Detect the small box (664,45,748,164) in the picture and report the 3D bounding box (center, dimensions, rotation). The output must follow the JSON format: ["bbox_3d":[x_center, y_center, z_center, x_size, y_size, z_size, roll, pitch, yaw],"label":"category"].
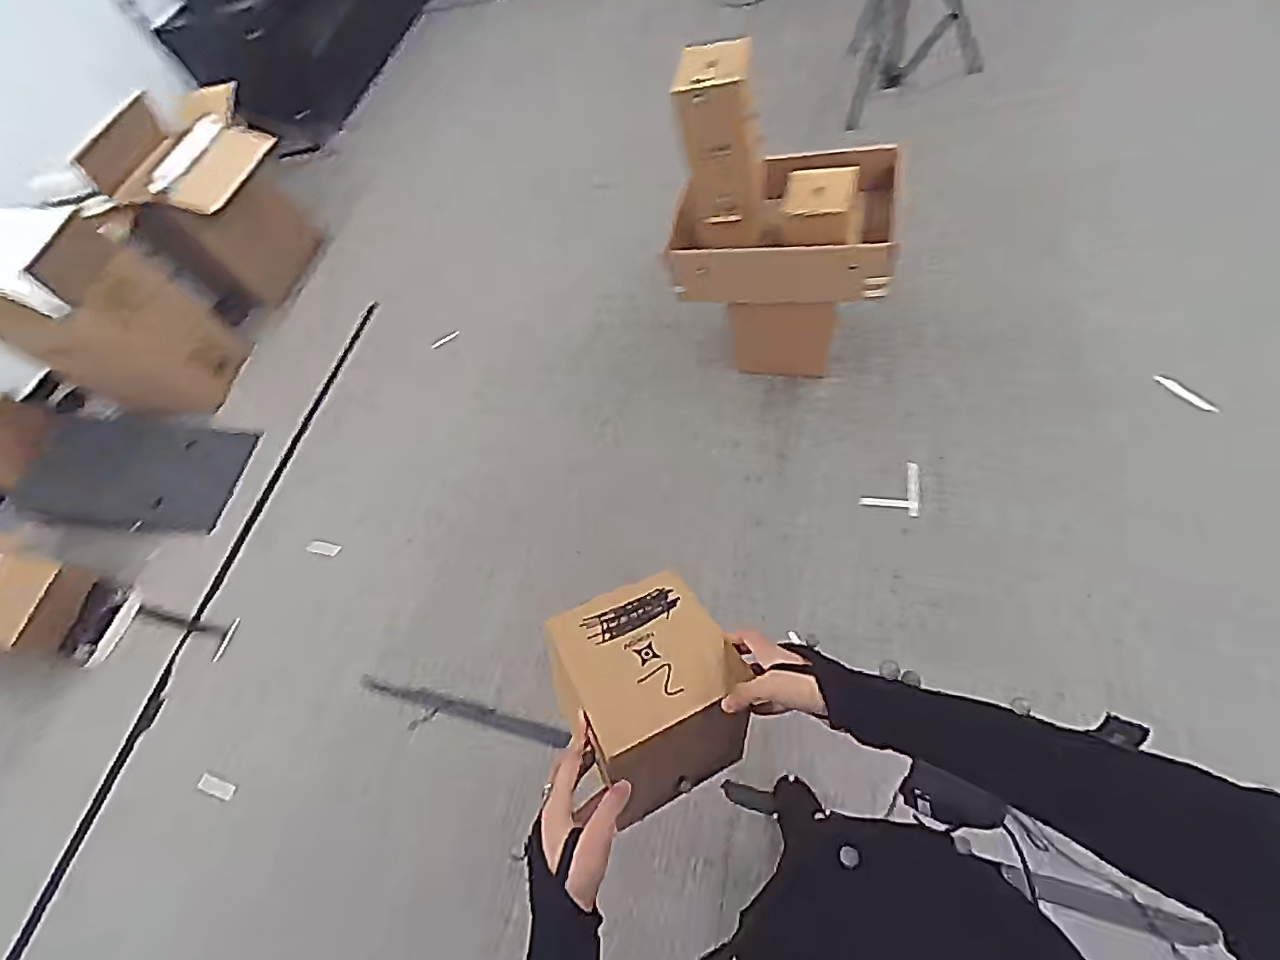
[{"bbox_3d":[0.169,-0.906,1.315,0.168,0.176,0.179,3,63,19],"label":"small box"}]

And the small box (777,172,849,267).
[{"bbox_3d":[0.482,-0.723,1.510,0.168,0.176,0.179,8,66,21],"label":"small box"}]

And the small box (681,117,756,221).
[{"bbox_3d":[0.218,-0.830,1.453,0.168,0.176,0.179,3,64,19],"label":"small box"}]
